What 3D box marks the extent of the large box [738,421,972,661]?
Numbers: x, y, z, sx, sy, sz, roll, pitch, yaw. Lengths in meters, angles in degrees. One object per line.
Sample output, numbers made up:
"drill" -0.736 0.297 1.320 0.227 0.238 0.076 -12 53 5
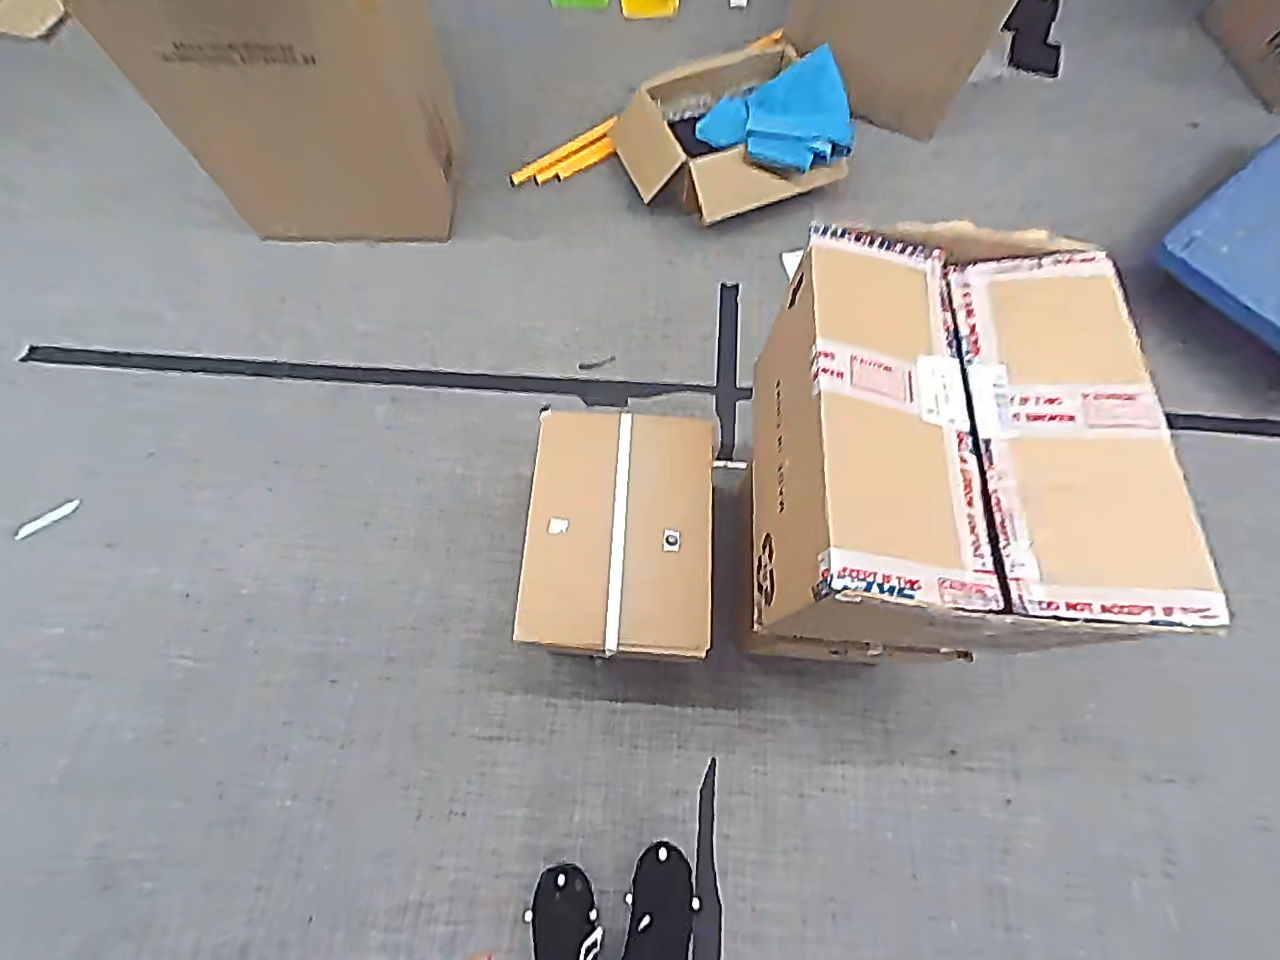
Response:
"large box" 0.380 0.134 1.064 0.320 0.320 0.408 3 70 0
